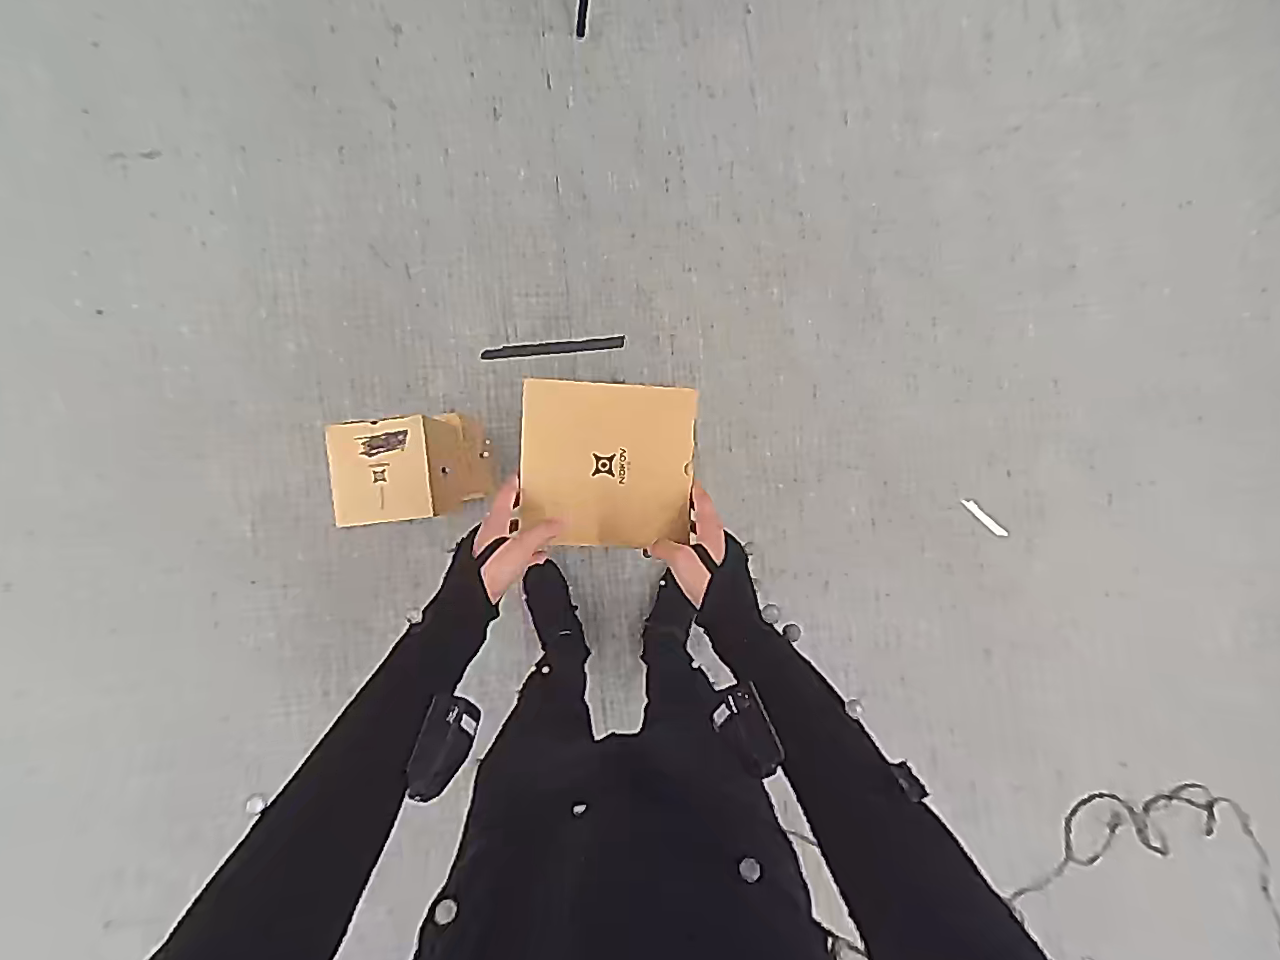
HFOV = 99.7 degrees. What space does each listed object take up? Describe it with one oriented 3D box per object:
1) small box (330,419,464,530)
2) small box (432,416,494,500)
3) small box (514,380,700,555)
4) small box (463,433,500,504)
[{"bbox_3d":[-0.432,-0.009,0.985,0.168,0.176,0.179,-6,91,-1],"label":"small box"},{"bbox_3d":[-0.427,-0.034,1.150,0.179,0.176,0.168,-10,90,-2],"label":"small box"},{"bbox_3d":[-0.039,-0.014,0.613,0.179,0.176,0.168,3,92,-6],"label":"small box"},{"bbox_3d":[-0.448,-0.028,1.313,0.168,0.176,0.179,-9,90,-3],"label":"small box"}]
